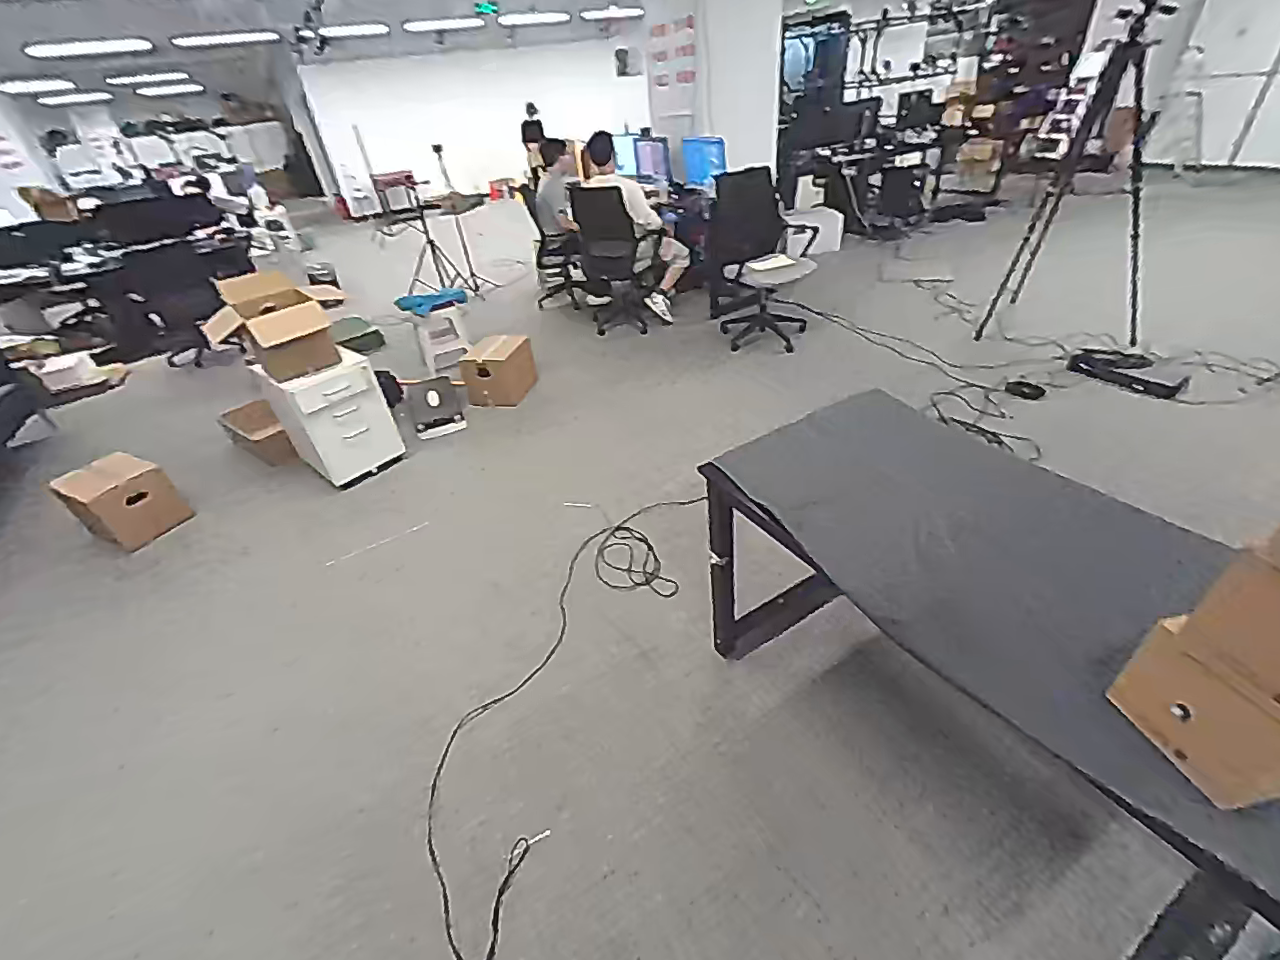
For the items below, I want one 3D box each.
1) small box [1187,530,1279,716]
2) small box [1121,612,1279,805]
[{"bbox_3d":[0.754,0.159,0.576,0.179,0.176,0.168,-12,36,-10],"label":"small box"},{"bbox_3d":[0.769,0.279,0.685,0.179,0.176,0.168,-9,35,-6],"label":"small box"}]
